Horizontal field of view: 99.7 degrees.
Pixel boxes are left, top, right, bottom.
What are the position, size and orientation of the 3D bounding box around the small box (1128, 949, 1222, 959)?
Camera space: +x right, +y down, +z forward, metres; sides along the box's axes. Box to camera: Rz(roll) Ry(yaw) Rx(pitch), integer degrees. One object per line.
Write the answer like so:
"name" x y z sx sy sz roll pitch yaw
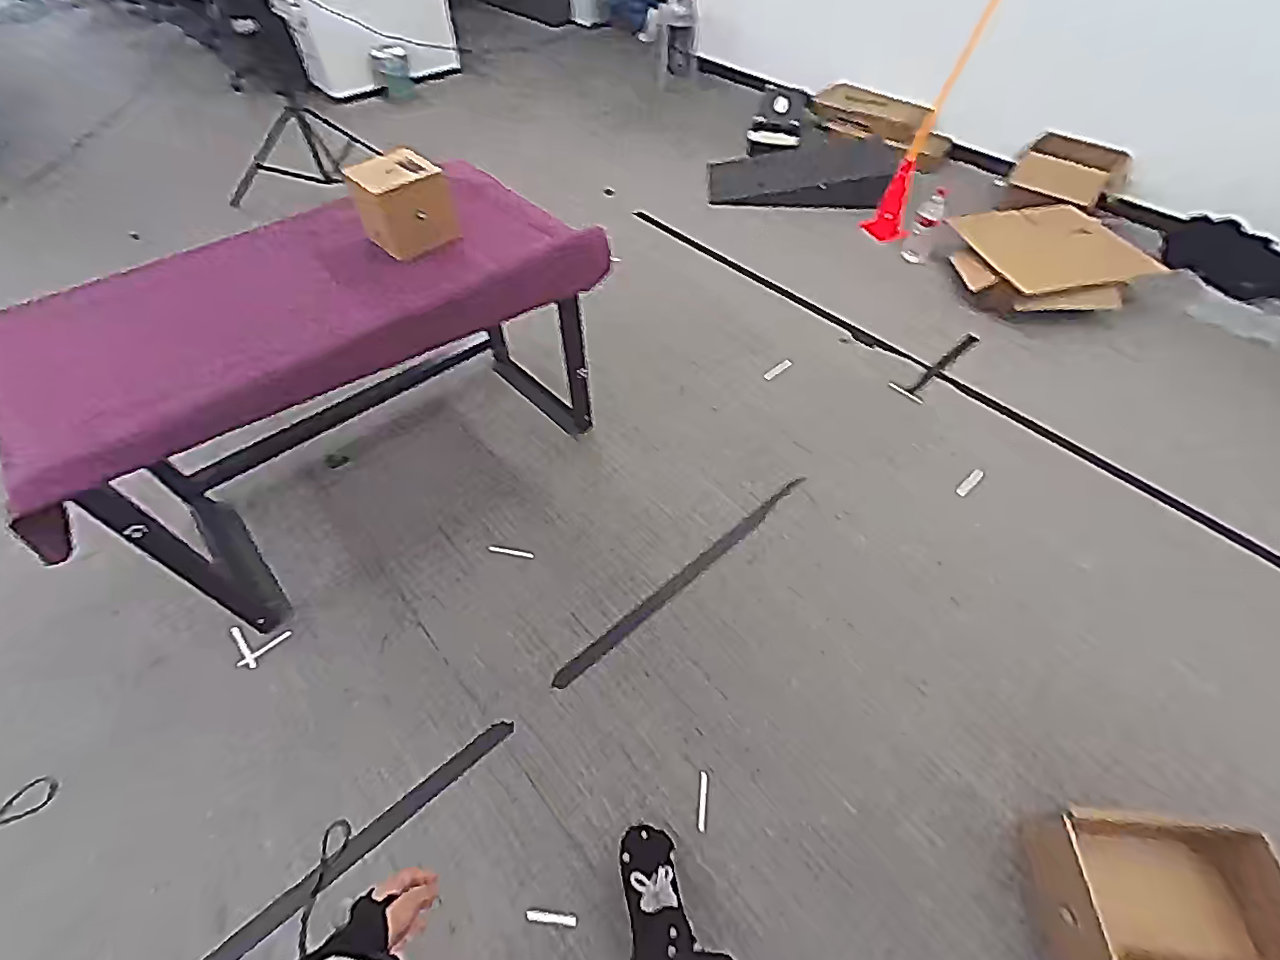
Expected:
"small box" 1.045 0.958 0.962 0.179 0.176 0.168 6 52 4
